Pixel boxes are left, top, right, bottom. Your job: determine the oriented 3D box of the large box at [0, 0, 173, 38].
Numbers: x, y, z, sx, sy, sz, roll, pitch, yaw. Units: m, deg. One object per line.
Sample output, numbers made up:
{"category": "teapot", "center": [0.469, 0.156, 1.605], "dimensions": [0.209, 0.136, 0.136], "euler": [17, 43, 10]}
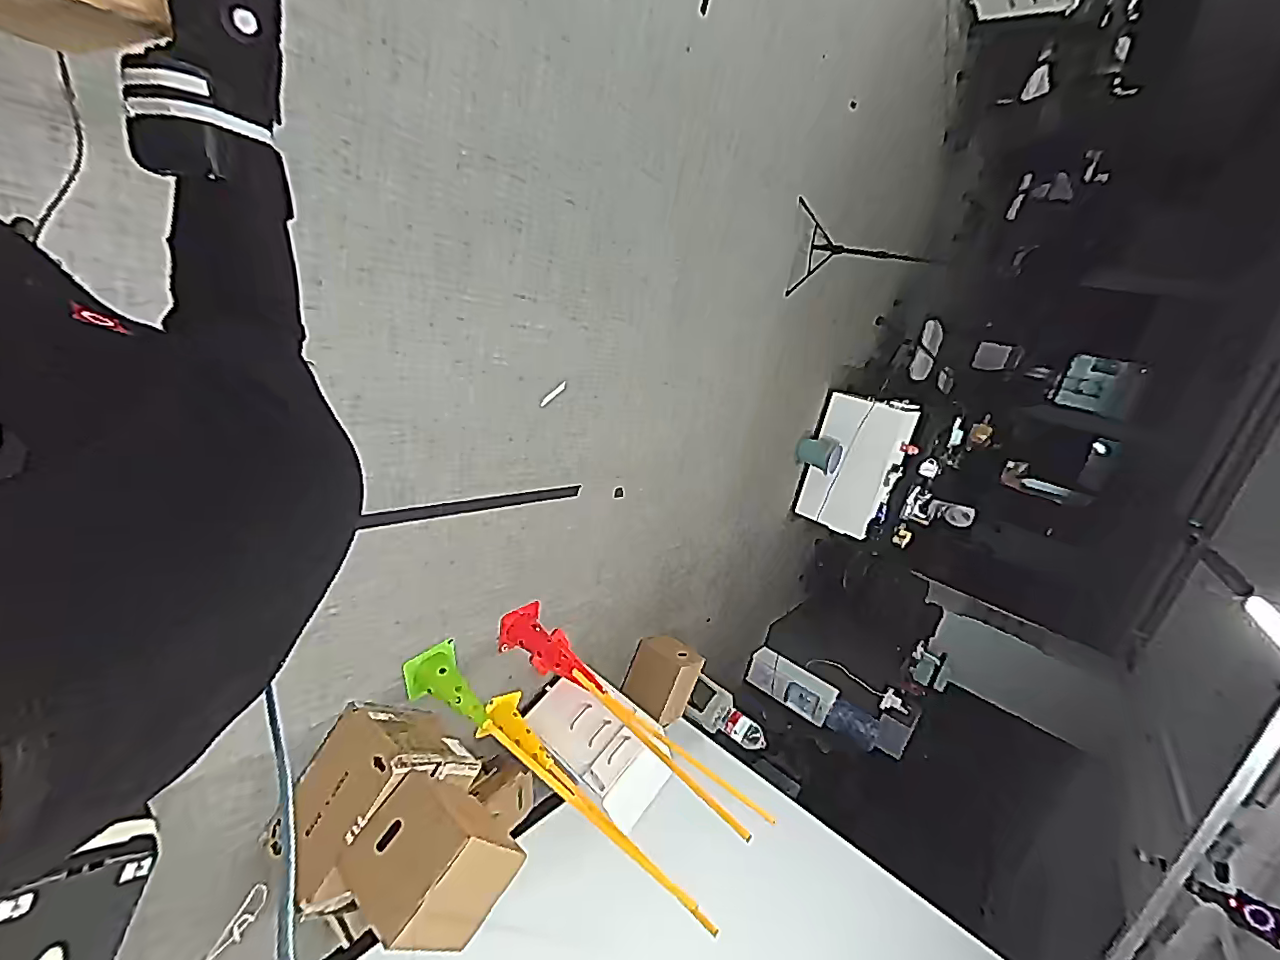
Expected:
{"category": "large box", "center": [-0.519, -0.476, 0.238], "dimensions": [0.408, 0.320, 0.320], "euler": [-14, 124, -52]}
